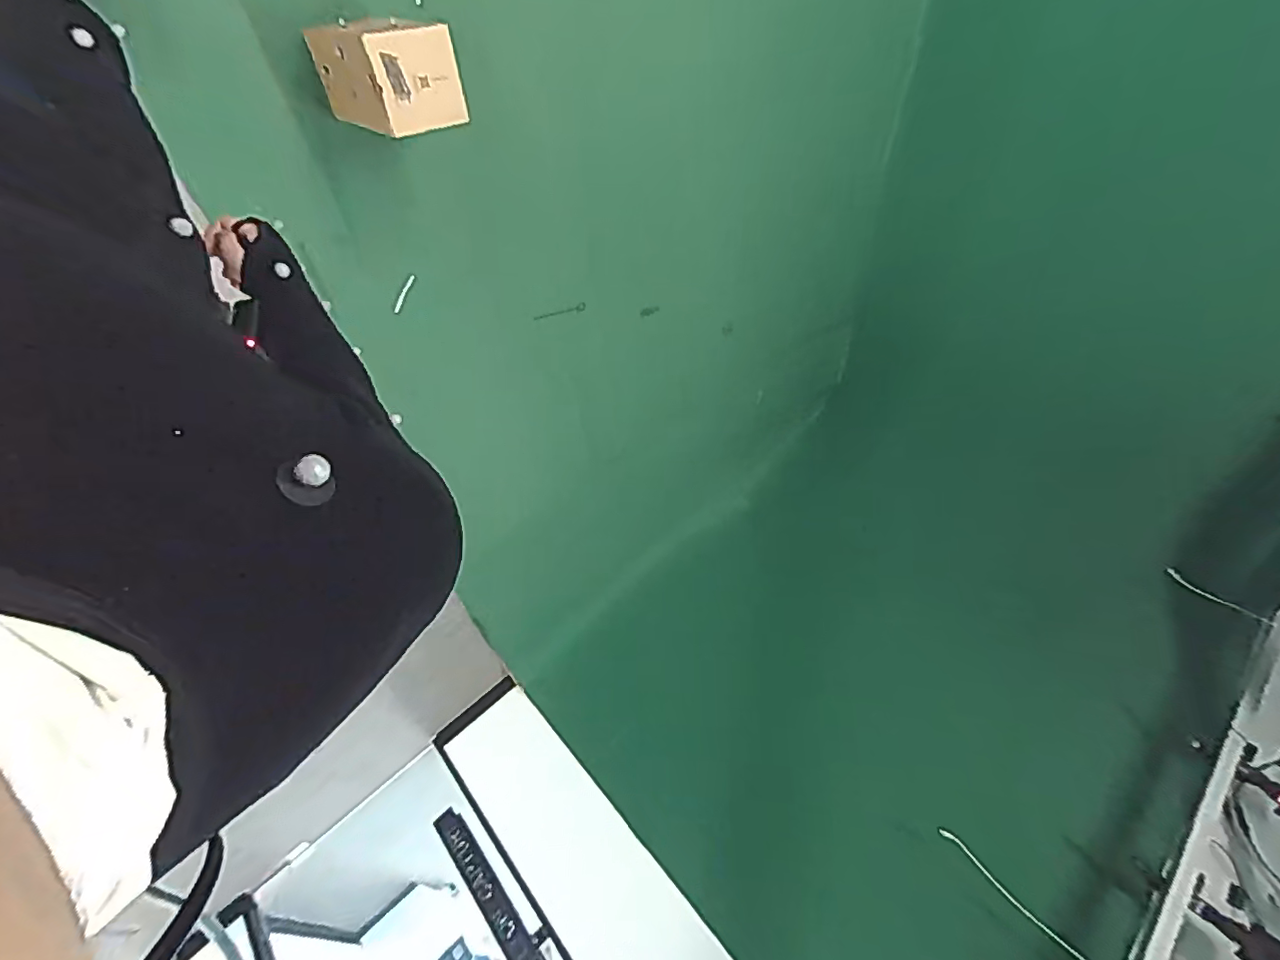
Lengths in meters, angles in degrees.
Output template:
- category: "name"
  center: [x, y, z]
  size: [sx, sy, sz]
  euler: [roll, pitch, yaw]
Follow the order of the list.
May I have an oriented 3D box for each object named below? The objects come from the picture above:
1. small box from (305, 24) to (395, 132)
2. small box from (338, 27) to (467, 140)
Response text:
- category: "small box"
  center: [-0.605, -0.903, 1.210]
  size: [0.179, 0.176, 0.168]
  euler: [-34, 142, -26]
- category: "small box"
  center: [-0.495, -0.823, 1.119]
  size: [0.179, 0.176, 0.168]
  euler: [-34, 142, -27]
